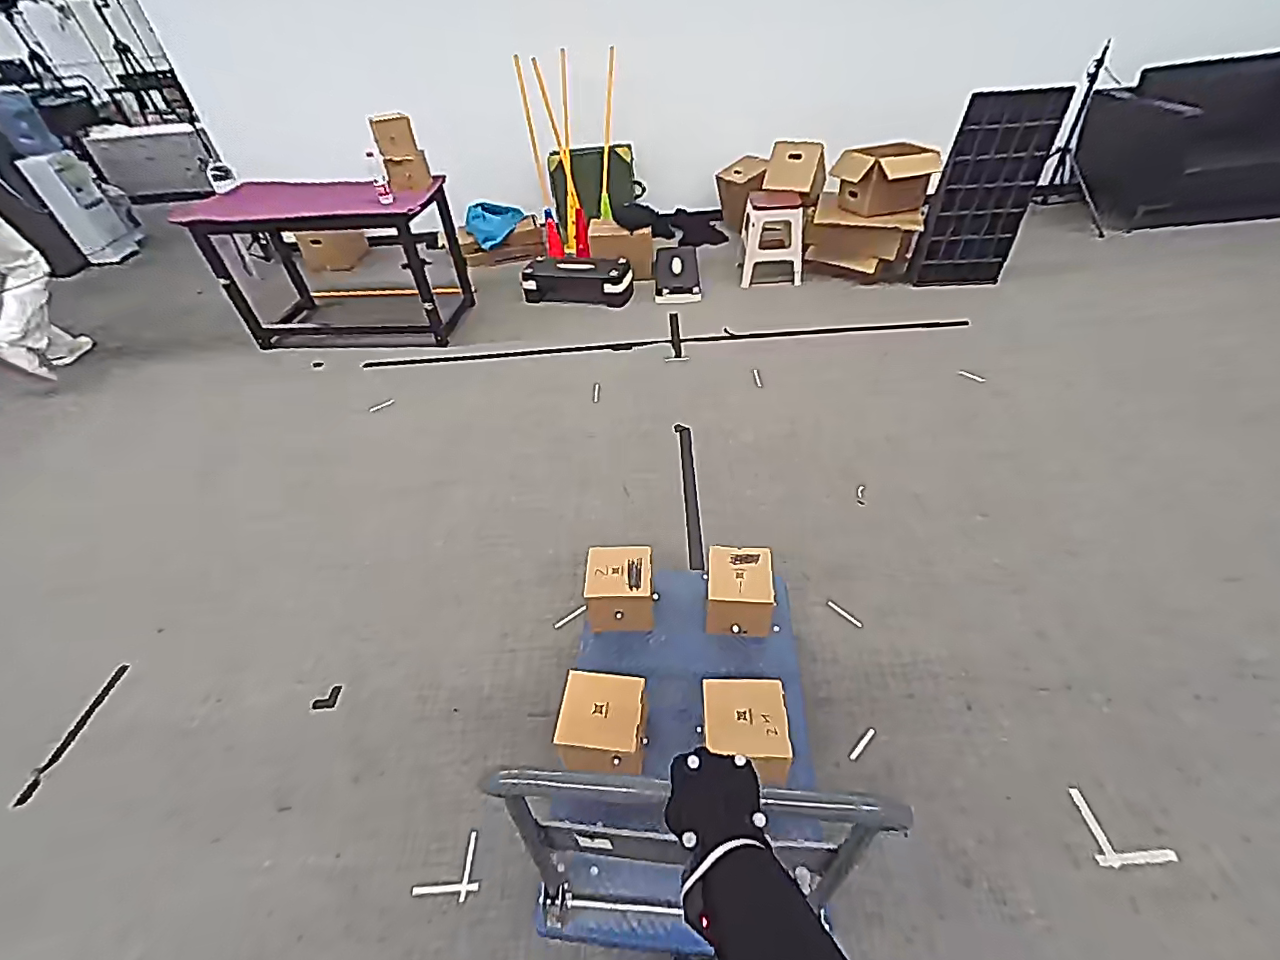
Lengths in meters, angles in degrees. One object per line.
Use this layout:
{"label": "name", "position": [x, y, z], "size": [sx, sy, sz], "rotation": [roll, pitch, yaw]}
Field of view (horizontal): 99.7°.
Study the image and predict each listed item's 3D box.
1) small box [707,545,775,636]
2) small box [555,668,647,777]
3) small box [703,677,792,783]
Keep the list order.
{"label": "small box", "position": [0.269, 0.299, 1.468], "size": [0.168, 0.176, 0.179], "rotation": [2, 45, 7]}
{"label": "small box", "position": [-0.080, 0.552, 1.227], "size": [0.179, 0.176, 0.168], "rotation": [4, 43, 6]}
{"label": "small box", "position": [0.228, 0.556, 1.199], "size": [0.179, 0.176, 0.168], "rotation": [0, 44, 4]}
